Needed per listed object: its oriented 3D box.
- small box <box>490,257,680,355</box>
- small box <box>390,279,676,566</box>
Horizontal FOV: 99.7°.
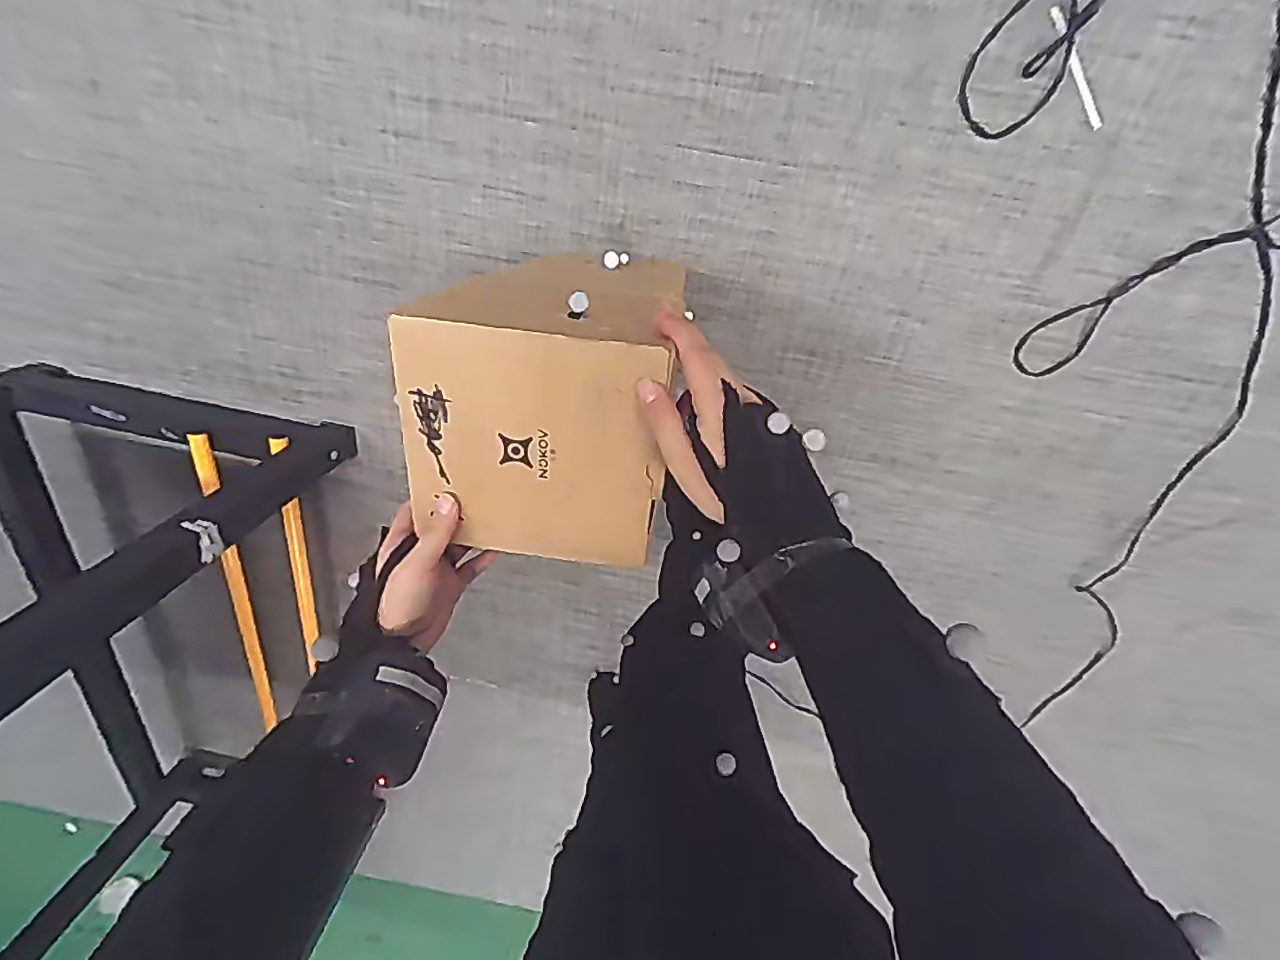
[{"bbox_3d":[-0.049,-0.130,0.576,0.168,0.176,0.179,7,118,3],"label":"small box"},{"bbox_3d":[-0.067,-0.056,0.430,0.179,0.176,0.168,8,118,2],"label":"small box"}]
